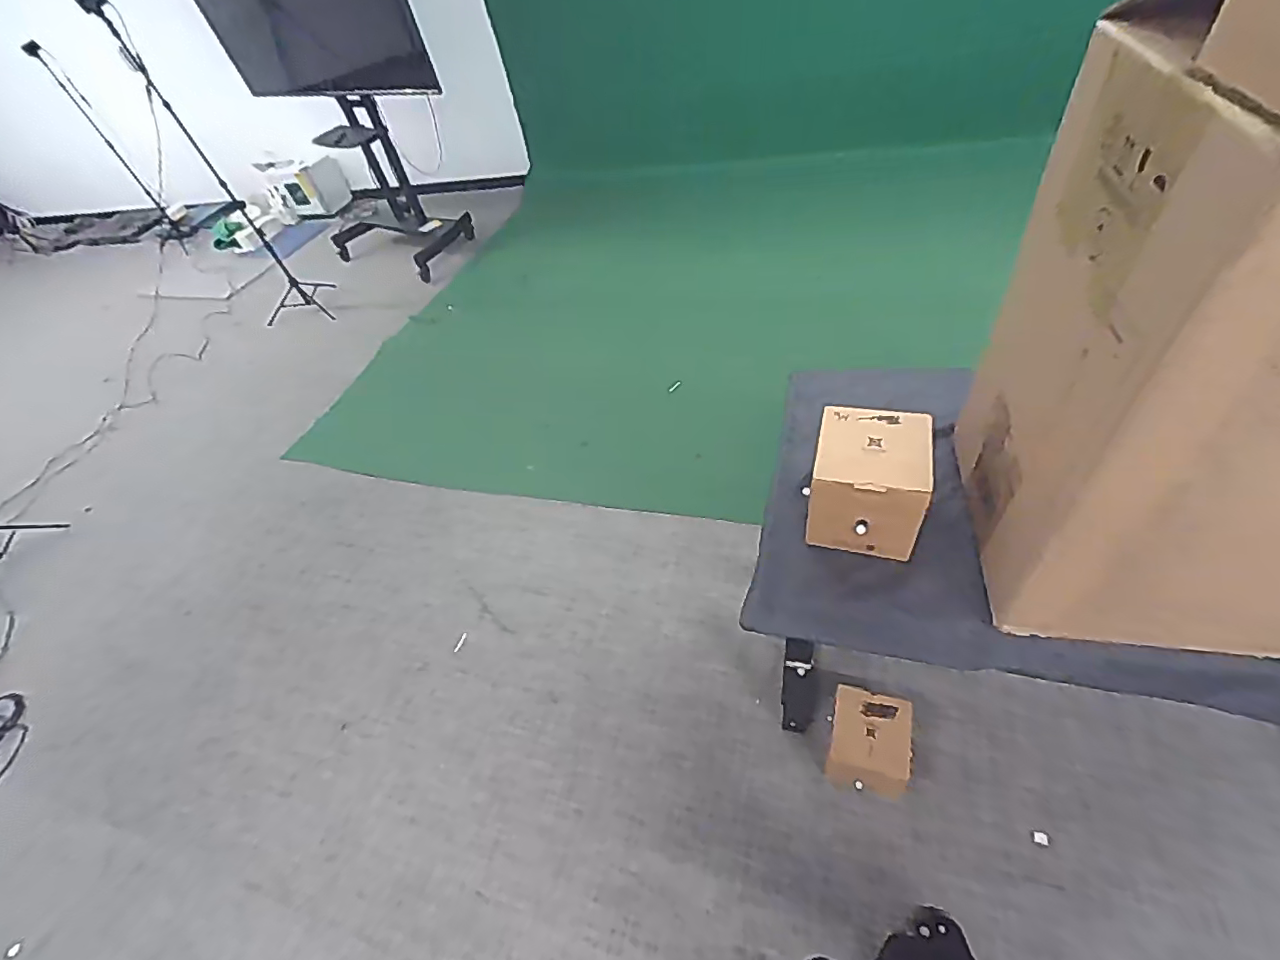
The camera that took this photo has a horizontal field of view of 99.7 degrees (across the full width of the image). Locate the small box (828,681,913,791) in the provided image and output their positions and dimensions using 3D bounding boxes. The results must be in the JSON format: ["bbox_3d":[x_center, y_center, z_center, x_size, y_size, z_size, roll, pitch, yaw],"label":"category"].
[{"bbox_3d":[0.553,0.620,1.308,0.168,0.176,0.179,8,53,21],"label":"small box"}]
